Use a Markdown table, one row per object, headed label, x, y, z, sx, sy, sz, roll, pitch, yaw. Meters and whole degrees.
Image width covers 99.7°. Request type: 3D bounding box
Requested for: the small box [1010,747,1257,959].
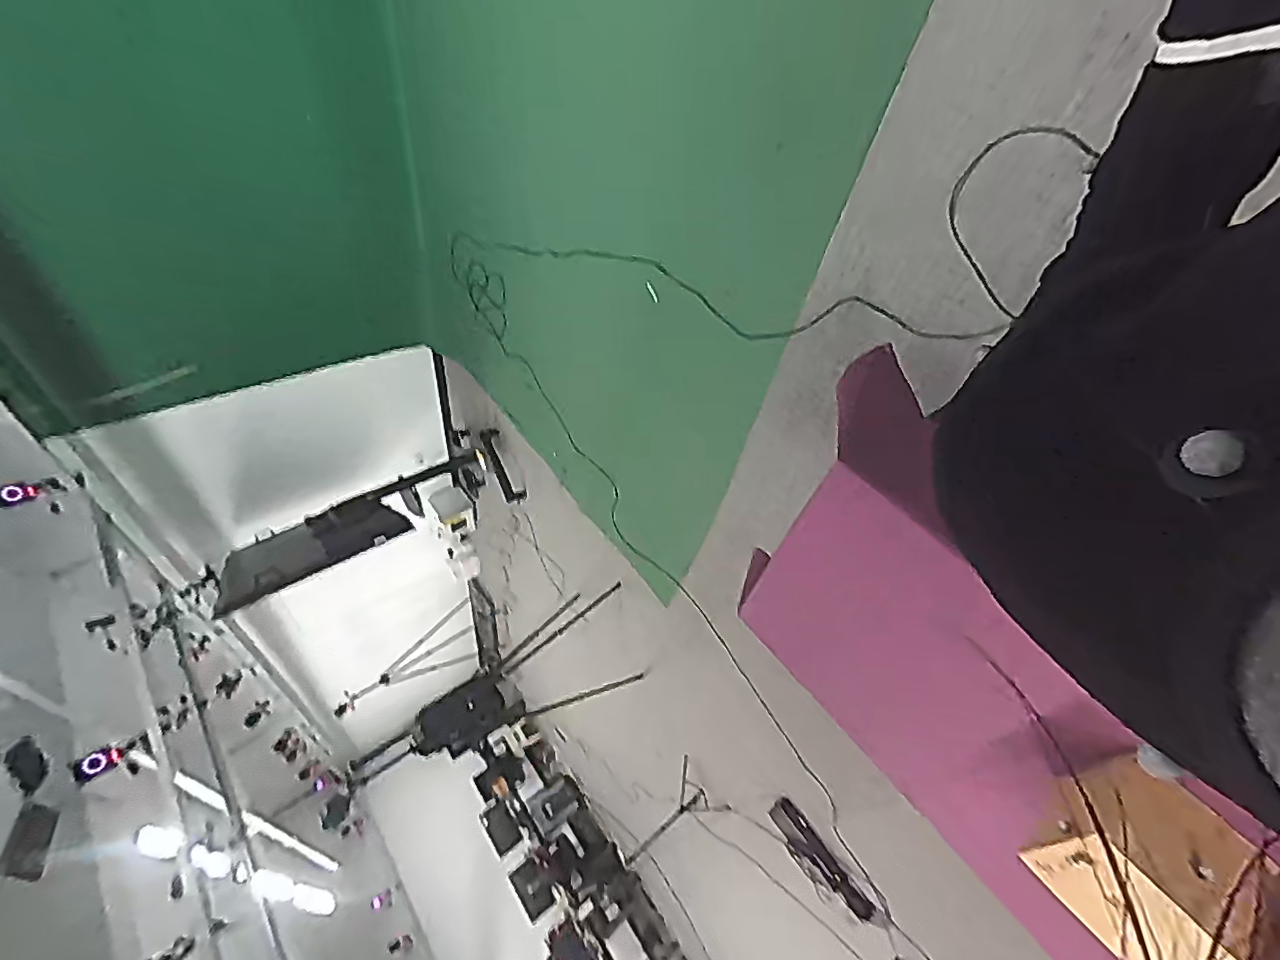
| label | x | y | z | sx | sy | sz | roll | pitch | yaw |
| --- | --- | --- | --- | --- | --- | --- | --- | --- | --- |
| small box | 0.680 | 0.517 | 0.753 | 0.179 | 0.176 | 0.168 | 46 | 145 | 27 |
